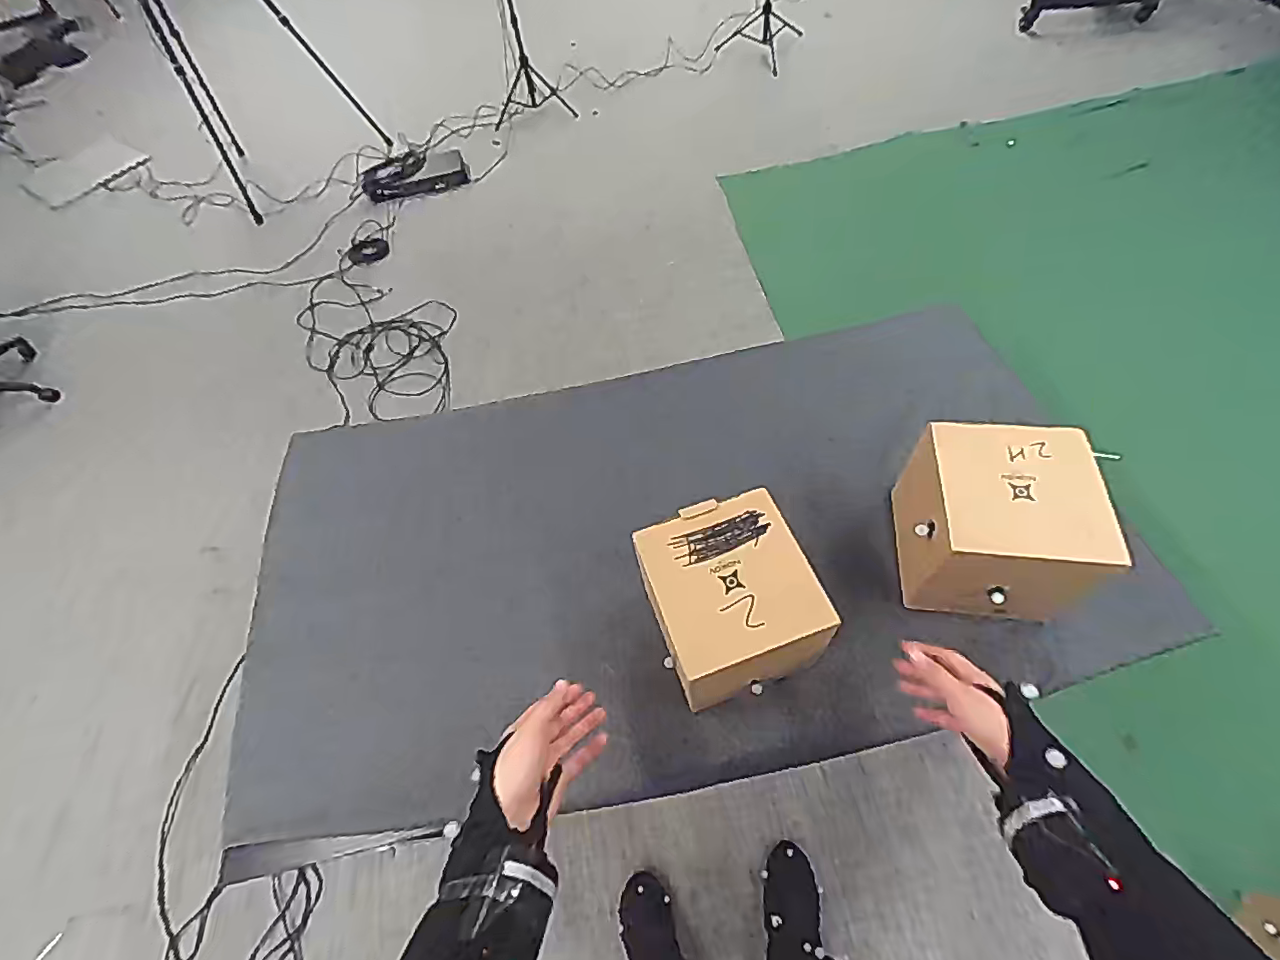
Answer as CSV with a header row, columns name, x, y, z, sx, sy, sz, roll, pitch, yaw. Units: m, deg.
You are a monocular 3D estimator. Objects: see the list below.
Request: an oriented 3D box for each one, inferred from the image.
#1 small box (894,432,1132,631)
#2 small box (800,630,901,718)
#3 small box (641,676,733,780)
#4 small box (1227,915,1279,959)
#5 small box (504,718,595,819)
name,x,y,z,sx,sy,sz,roll,pitch,yaw
small box,0.416,0.066,0.642,0.168,0.176,0.179,5,57,10
small box,0.477,0.455,1.259,0.179,0.176,0.168,-1,59,4
small box,0.107,0.570,1.234,0.168,0.176,0.179,-15,57,-3
small box,1.159,0.887,0.913,0.179,0.176,0.168,-41,62,-18
small box,-0.200,0.653,1.222,0.168,0.176,0.179,-10,58,1
